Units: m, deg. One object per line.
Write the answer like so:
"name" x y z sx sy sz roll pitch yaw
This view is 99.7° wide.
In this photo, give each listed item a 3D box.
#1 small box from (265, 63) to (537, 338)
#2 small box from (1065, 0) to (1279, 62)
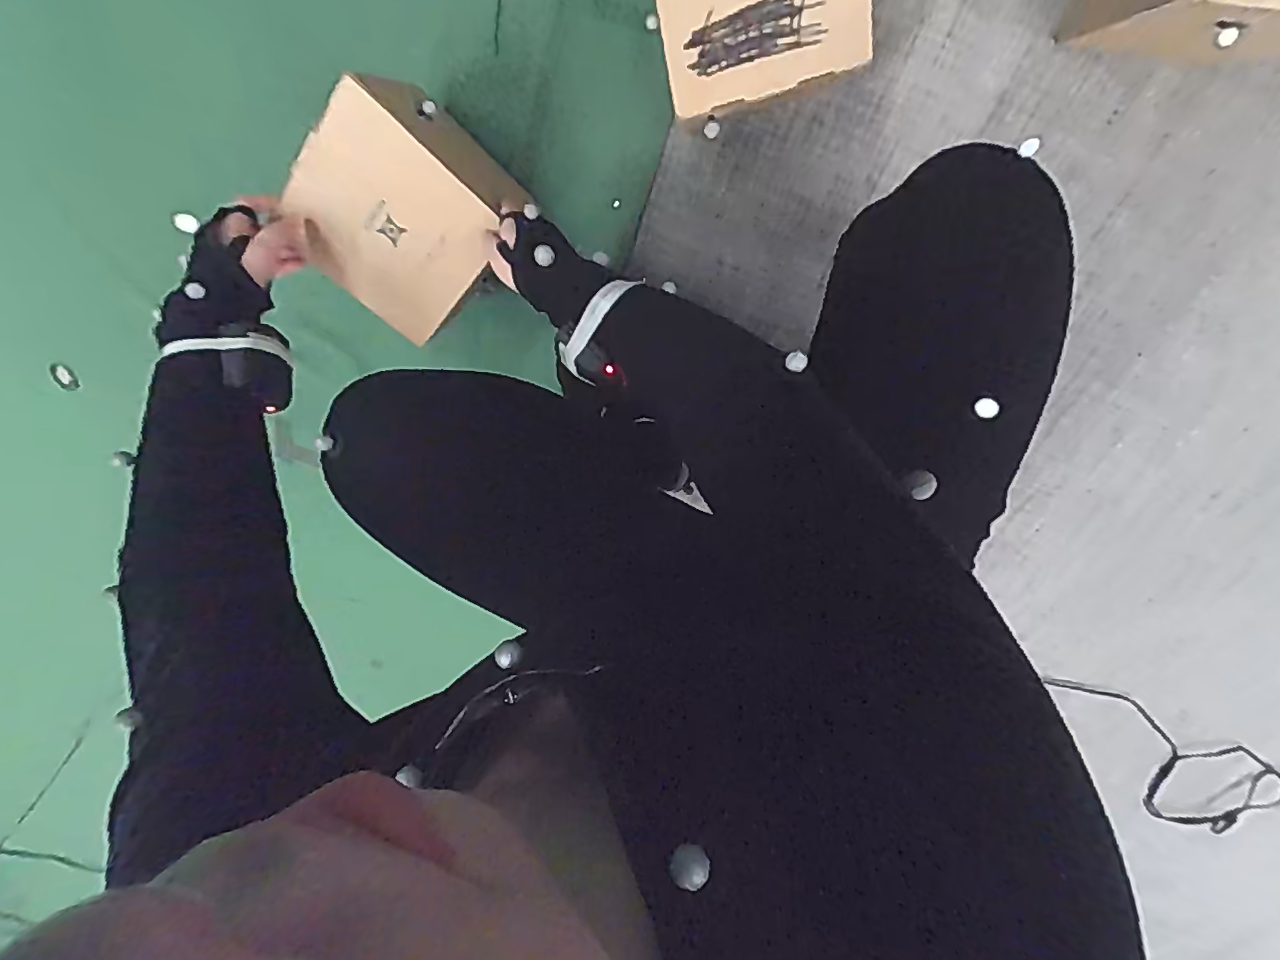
"small box" -0.235 -0.288 0.575 0.179 0.176 0.168 40 115 -22
"small box" 0.503 -0.458 0.433 0.179 0.176 0.168 8 120 2
